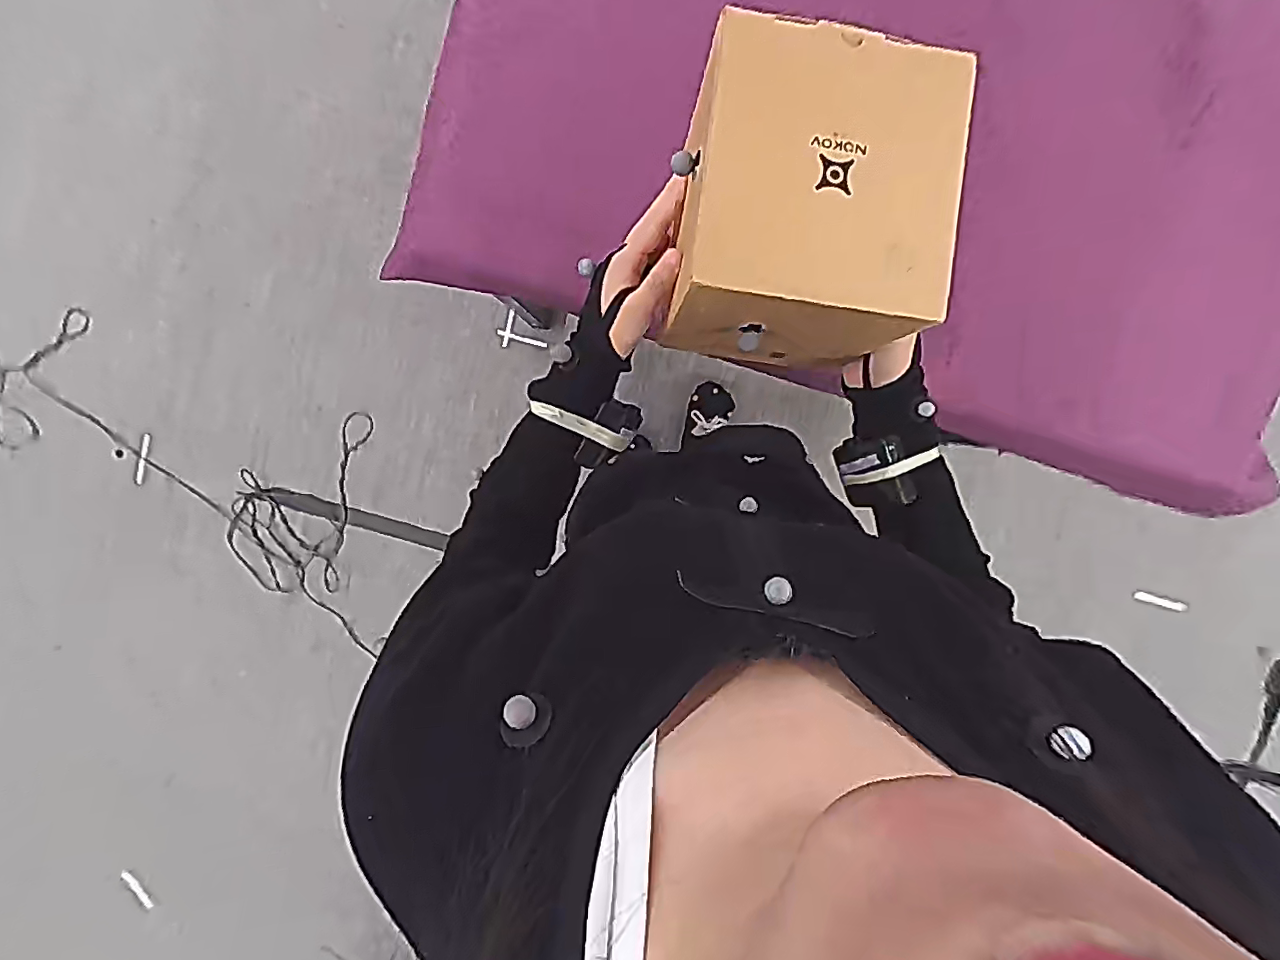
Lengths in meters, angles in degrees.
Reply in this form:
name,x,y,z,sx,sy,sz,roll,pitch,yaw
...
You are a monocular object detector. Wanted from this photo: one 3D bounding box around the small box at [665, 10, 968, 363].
name,x,y,z,sx,sy,sz,roll,pitch,yaw
small box,0.116,-0.200,0.423,0.168,0.176,0.179,7,89,-5
